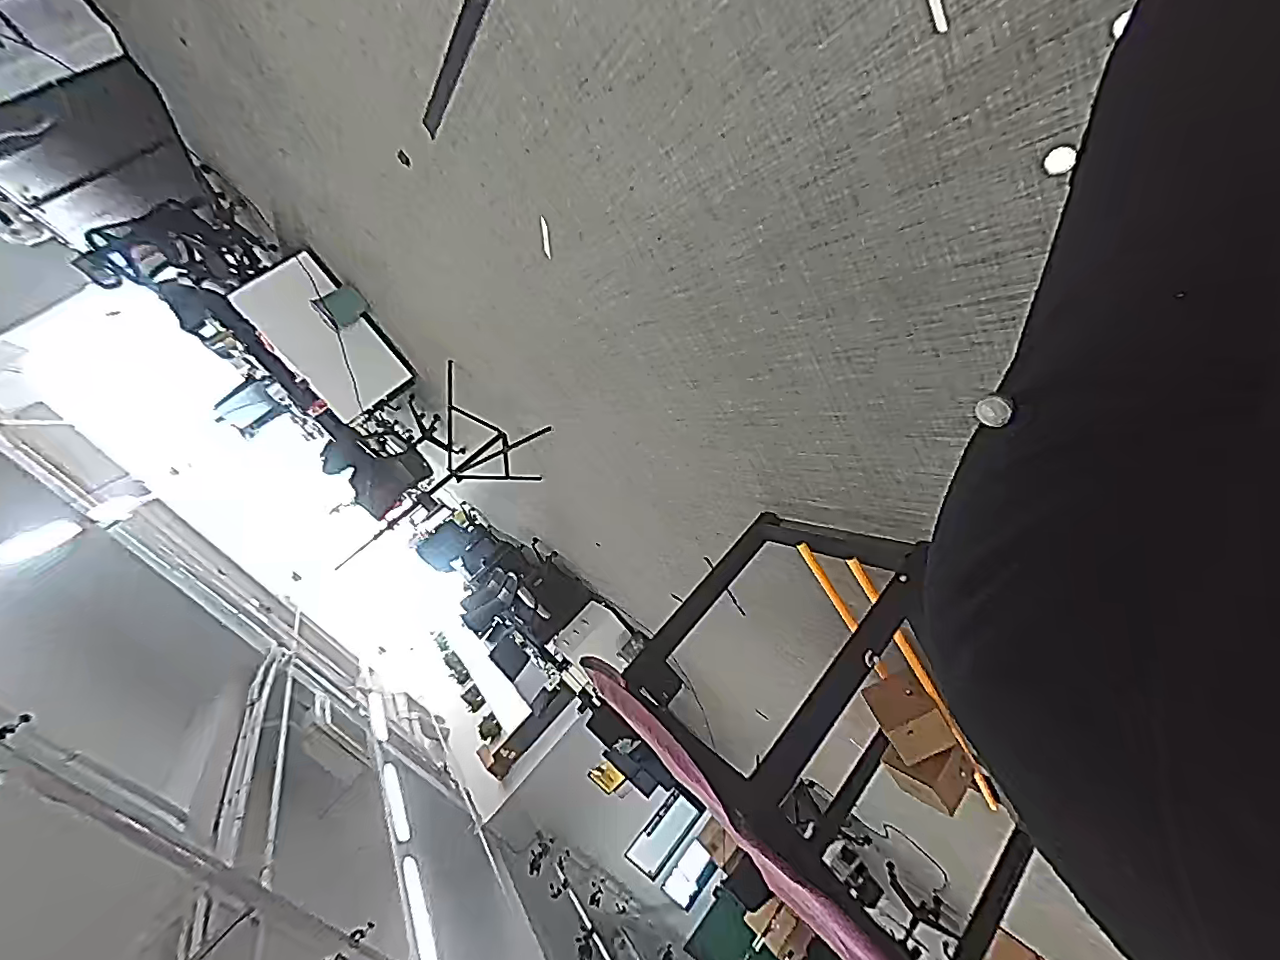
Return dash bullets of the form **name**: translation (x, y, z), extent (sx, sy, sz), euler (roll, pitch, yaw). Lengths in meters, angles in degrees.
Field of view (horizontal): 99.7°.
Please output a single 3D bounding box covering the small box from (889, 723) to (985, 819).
- **small box**: translation (0.916, 0.884, 1.666), extent (0.168, 0.176, 0.179), euler (52, 158, -20)
